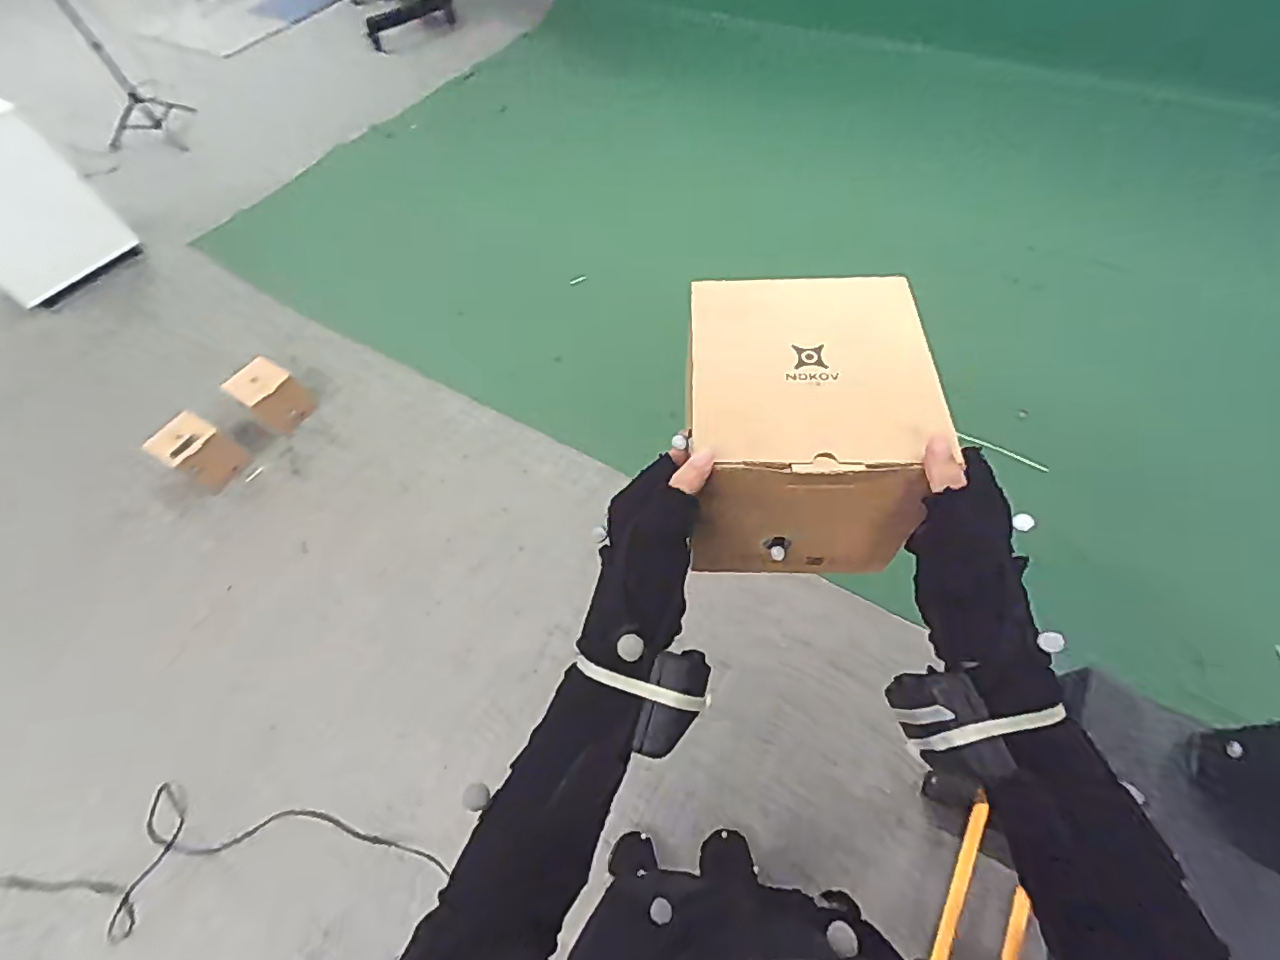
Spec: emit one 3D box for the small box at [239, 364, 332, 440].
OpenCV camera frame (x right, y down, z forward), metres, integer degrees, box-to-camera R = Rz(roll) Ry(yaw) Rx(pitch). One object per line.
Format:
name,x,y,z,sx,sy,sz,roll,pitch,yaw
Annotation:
small box,-1.241,-0.269,1.903,0.179,0.176,0.168,28,65,20
